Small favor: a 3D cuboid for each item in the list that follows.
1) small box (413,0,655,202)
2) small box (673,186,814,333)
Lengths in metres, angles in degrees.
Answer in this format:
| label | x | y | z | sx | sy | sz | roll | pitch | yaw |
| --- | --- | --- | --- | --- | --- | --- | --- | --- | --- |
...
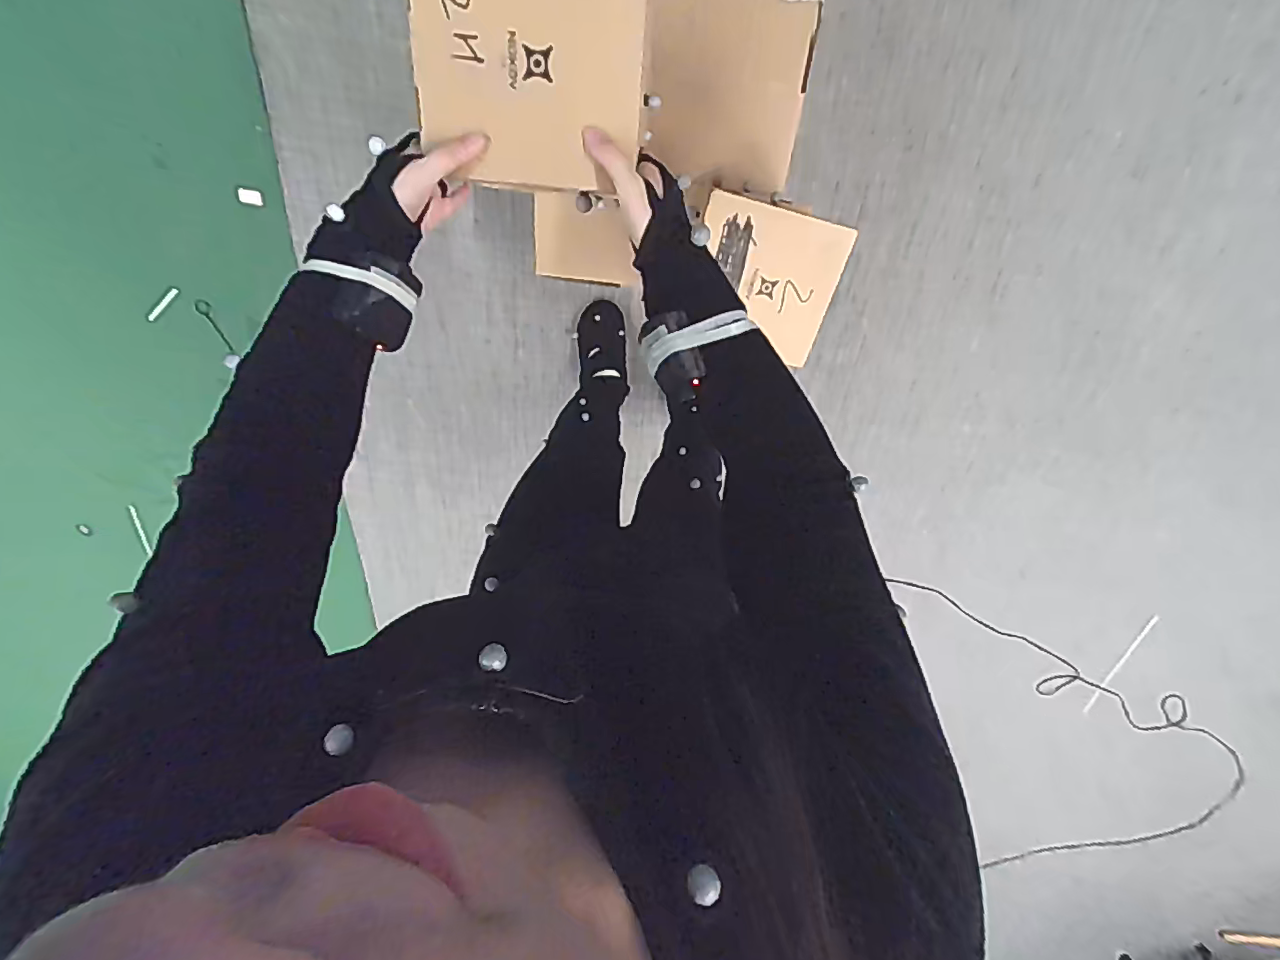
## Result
| label | x | y | z | sx | sy | sz | roll | pitch | yaw |
| --- | --- | --- | --- | --- | --- | --- | --- | --- | --- |
| small box | -0.080 | -0.349 | 0.481 | 0.179 | 0.176 | 0.168 | 6 | 117 | -1 |
| small box | 0.147 | -0.347 | 0.845 | 0.168 | 0.176 | 0.179 | 9 | 118 | -3 |
